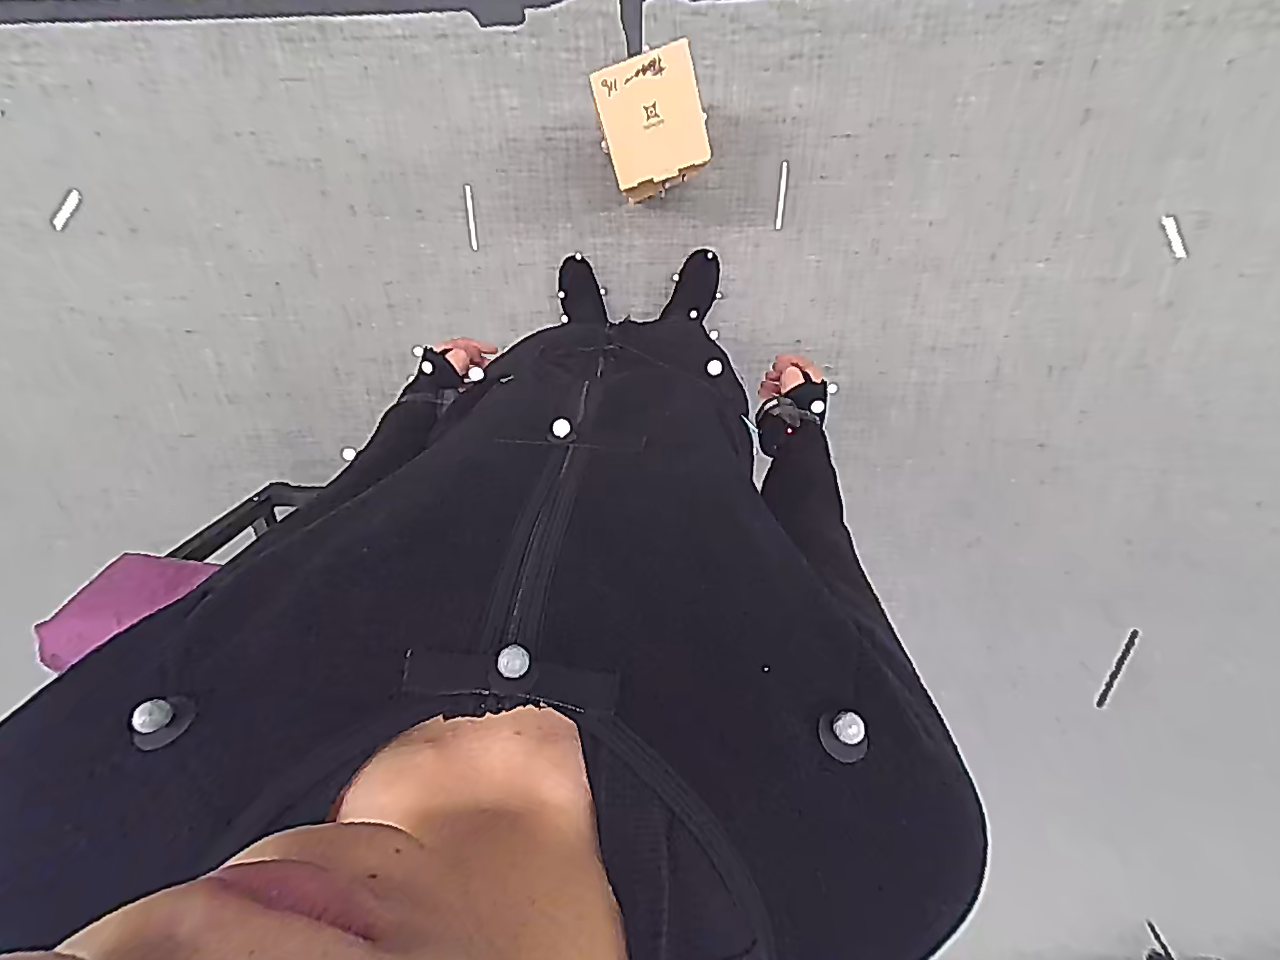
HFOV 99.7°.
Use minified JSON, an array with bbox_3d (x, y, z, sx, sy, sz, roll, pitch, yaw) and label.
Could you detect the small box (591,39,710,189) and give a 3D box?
[{"bbox_3d":[0.023,-0.638,0.966,0.168,0.176,0.179,-14,116,8],"label":"small box"}]
